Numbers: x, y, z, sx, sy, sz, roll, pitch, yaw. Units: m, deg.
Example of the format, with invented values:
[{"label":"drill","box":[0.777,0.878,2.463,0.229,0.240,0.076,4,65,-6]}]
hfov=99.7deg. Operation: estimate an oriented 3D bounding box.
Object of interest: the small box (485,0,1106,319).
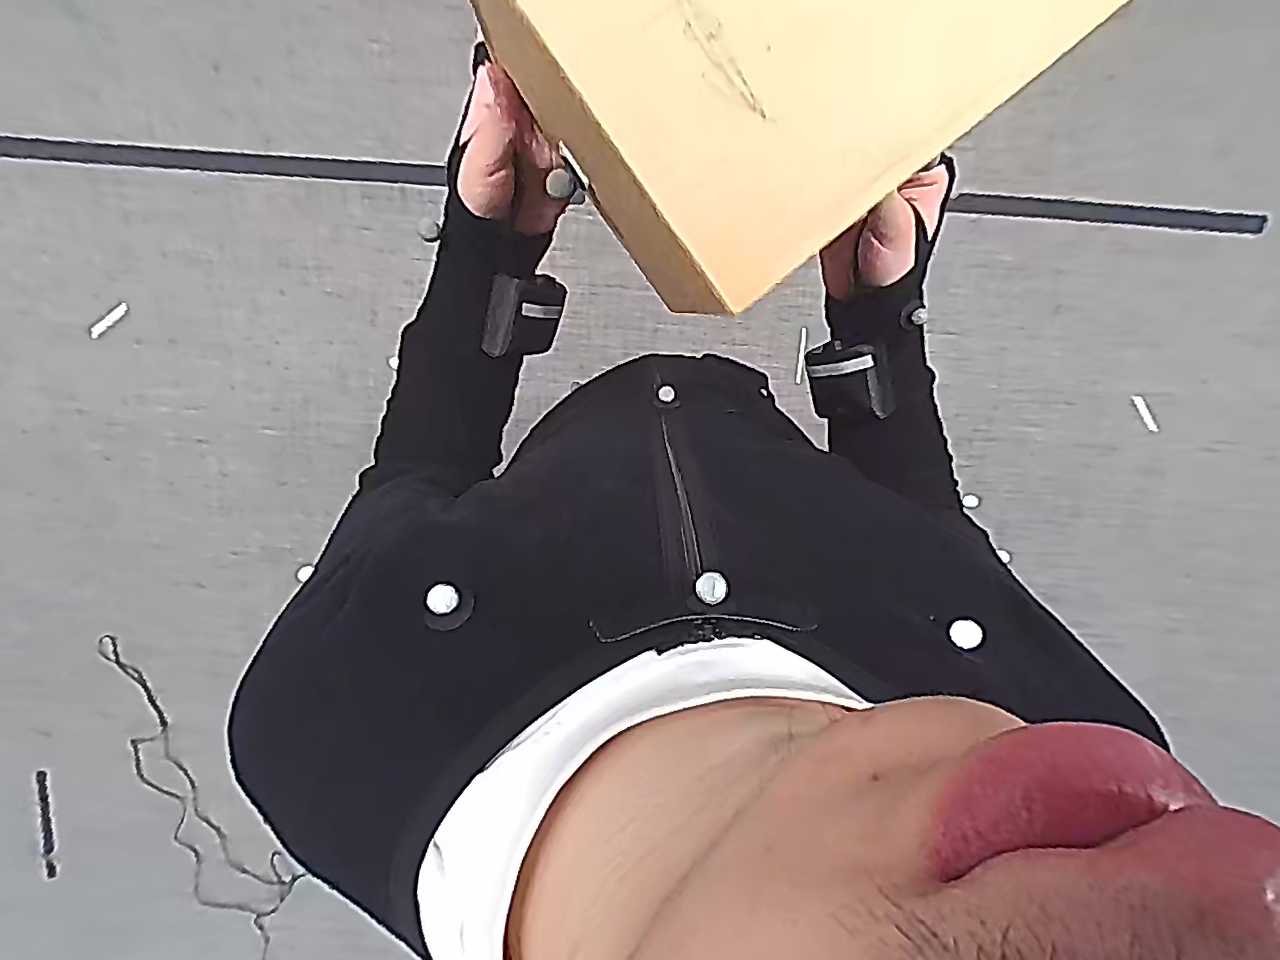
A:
[{"label":"small box","box":[0.044,-0.199,0.255,0.179,0.176,0.168,-38,106,8]}]
